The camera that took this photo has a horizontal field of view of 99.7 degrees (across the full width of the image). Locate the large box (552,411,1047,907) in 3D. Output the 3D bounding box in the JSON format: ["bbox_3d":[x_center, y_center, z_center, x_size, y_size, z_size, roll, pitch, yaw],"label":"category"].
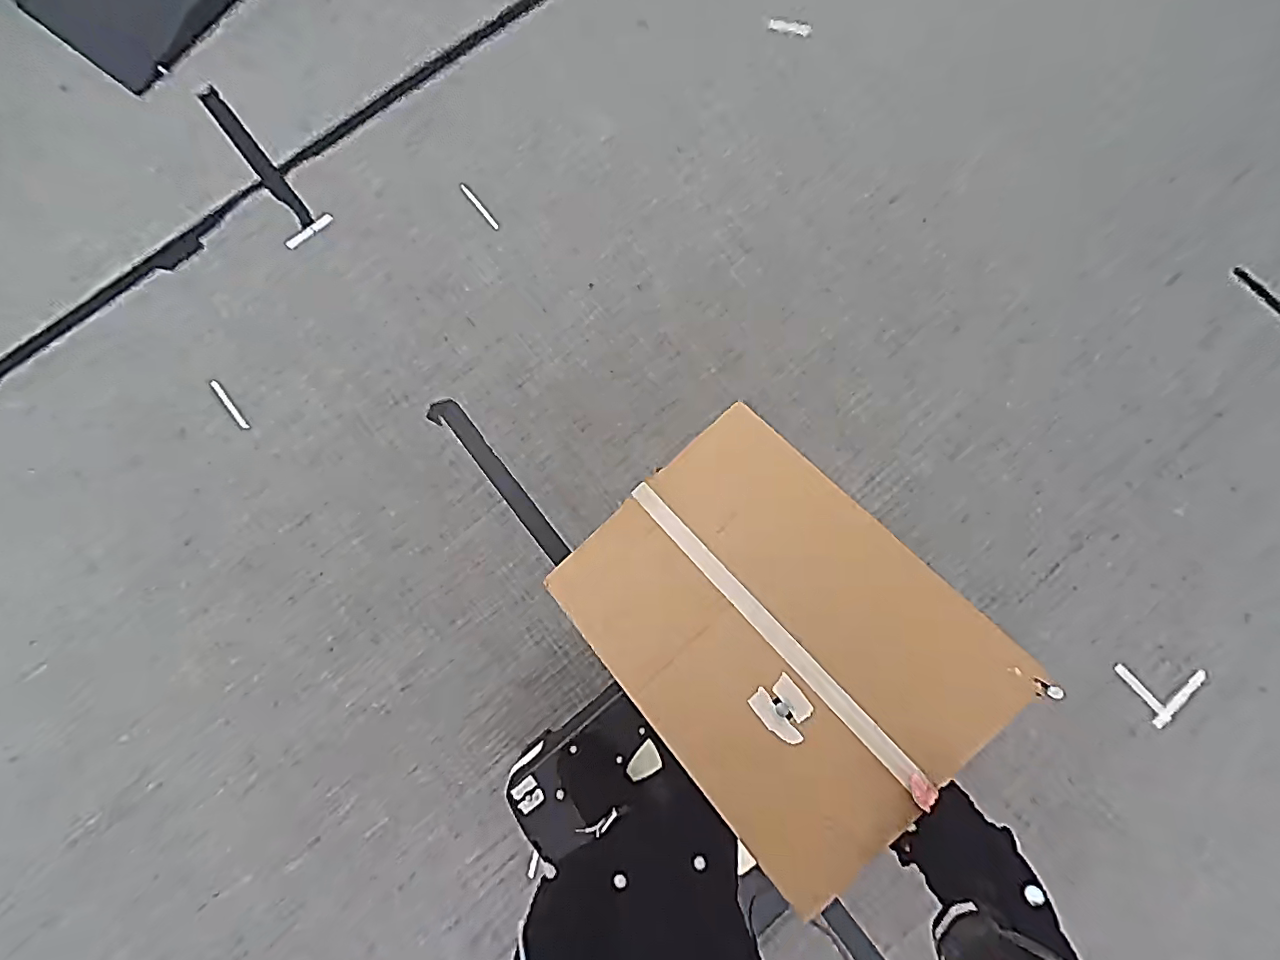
[{"bbox_3d":[0.166,0.190,0.695,0.320,0.320,0.408,-44,69,-1],"label":"large box"}]

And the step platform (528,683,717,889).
[{"bbox_3d":[0.100,0.491,1.146,0.684,0.204,0.286,-40,83,-7],"label":"step platform"}]
